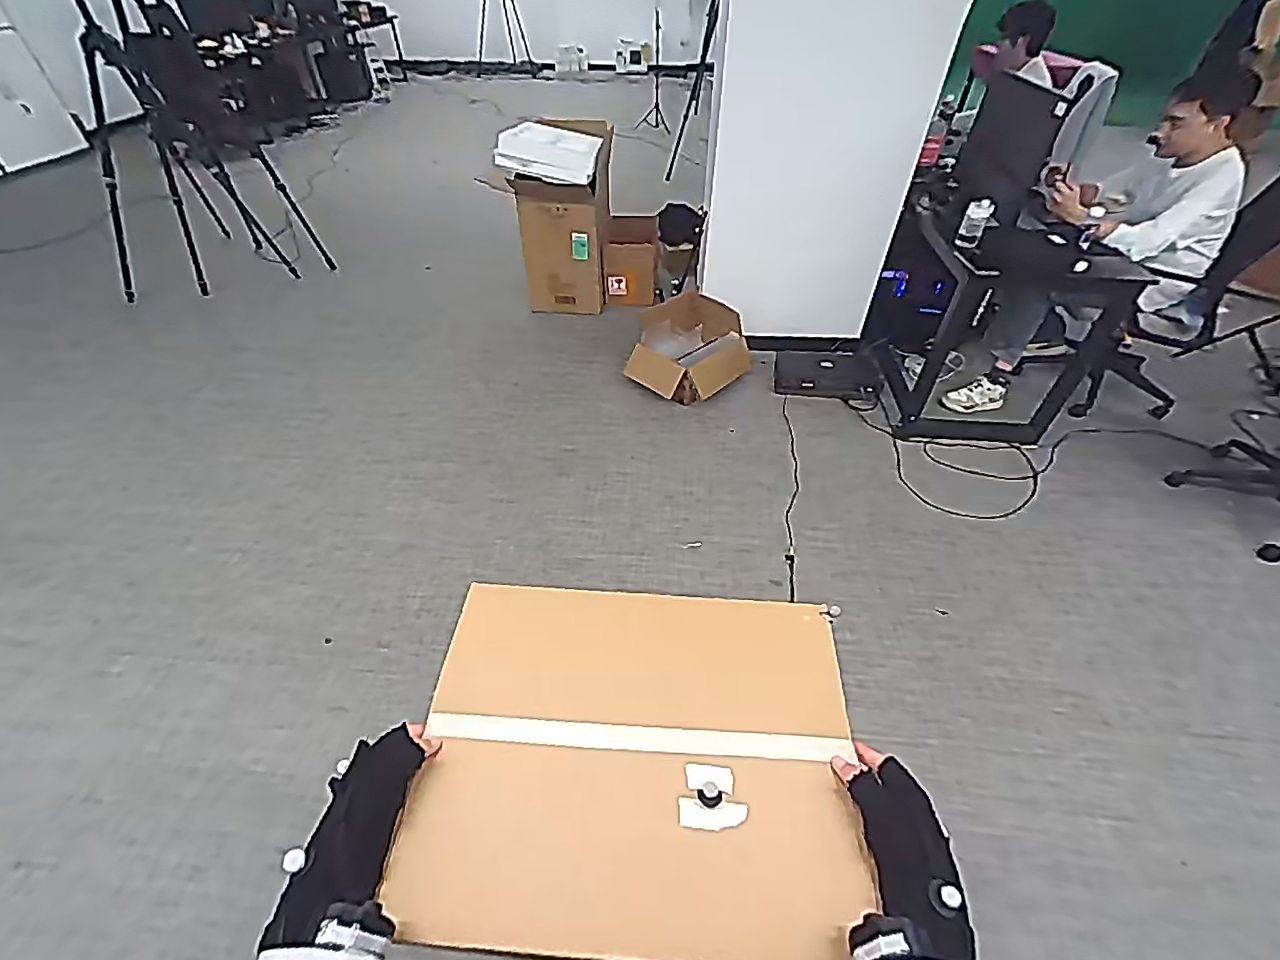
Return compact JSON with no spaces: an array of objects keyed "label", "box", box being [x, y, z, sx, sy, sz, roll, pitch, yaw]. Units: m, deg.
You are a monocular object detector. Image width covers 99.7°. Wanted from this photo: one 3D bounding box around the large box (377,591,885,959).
[{"label":"large box","box":[-0.006,0.351,0.624,0.408,0.320,0.320,4,47,2]}]
